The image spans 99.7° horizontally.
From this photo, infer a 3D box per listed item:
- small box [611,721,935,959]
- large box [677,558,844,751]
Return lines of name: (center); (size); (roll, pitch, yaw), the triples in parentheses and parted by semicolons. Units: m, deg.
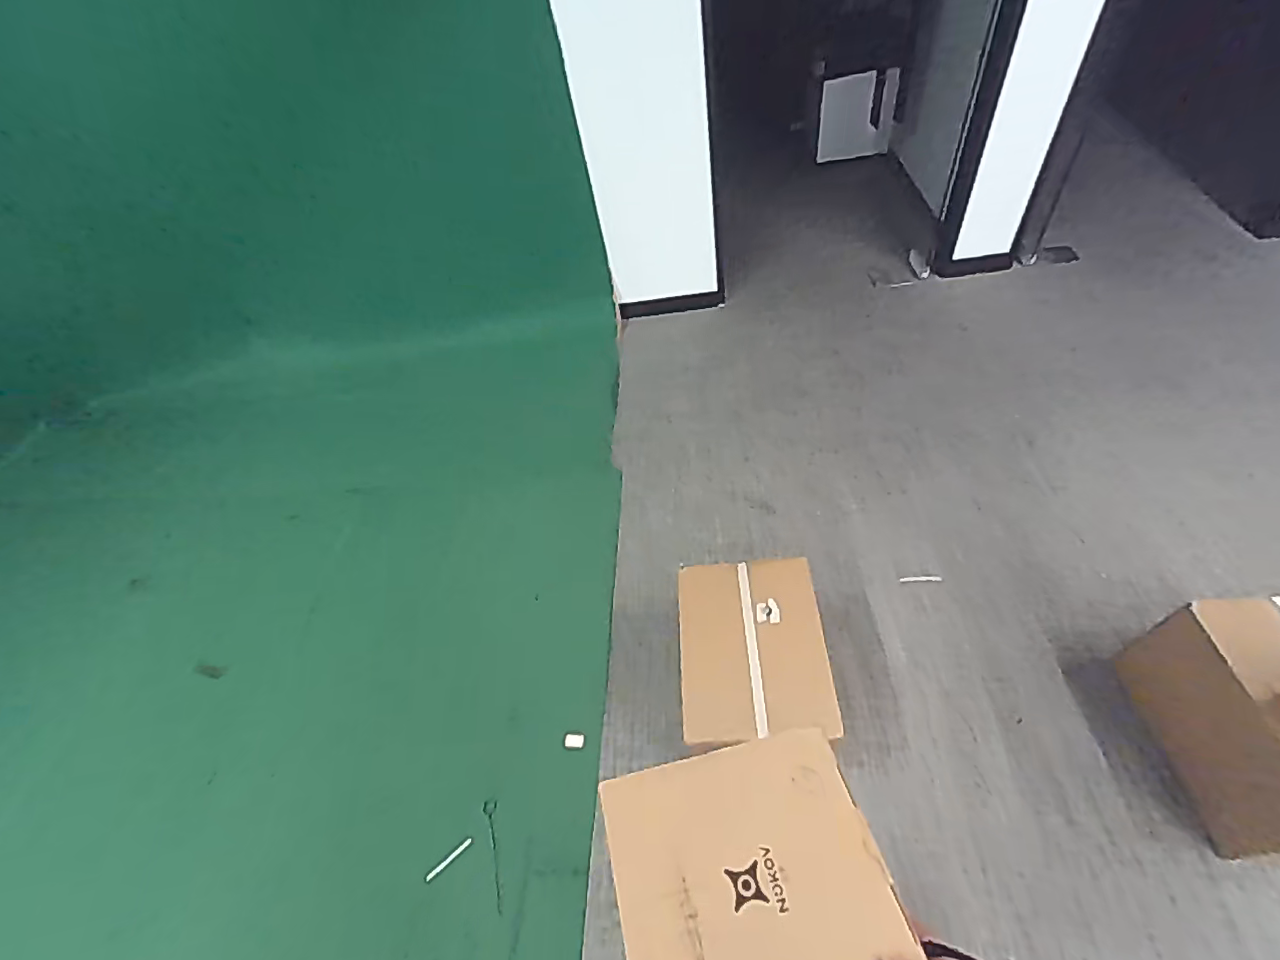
small box: (0.083, 0.312, 0.411); (0.179, 0.176, 0.168); (-12, 46, -5)
large box: (0.269, 0.448, 1.290); (0.320, 0.320, 0.408); (-6, 50, 8)
